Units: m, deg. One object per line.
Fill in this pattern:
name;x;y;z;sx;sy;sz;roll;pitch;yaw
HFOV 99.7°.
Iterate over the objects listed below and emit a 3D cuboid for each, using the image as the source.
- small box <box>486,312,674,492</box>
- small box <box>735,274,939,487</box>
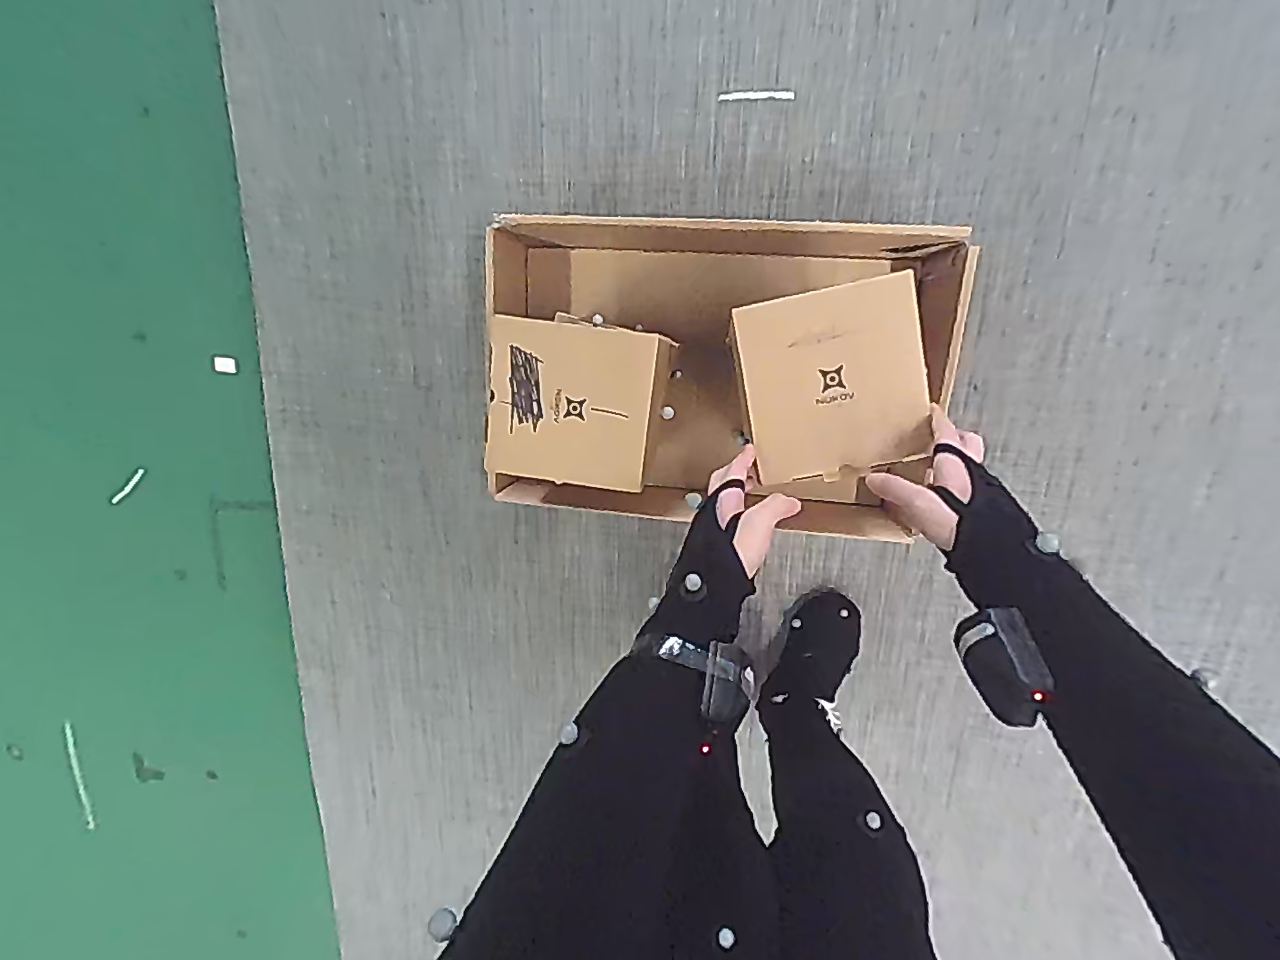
small box;-0.061;-0.095;0.635;0.179;0.176;0.168;9;104;5
small box;0.197;-0.099;0.581;0.168;0.176;0.179;-9;95;9
